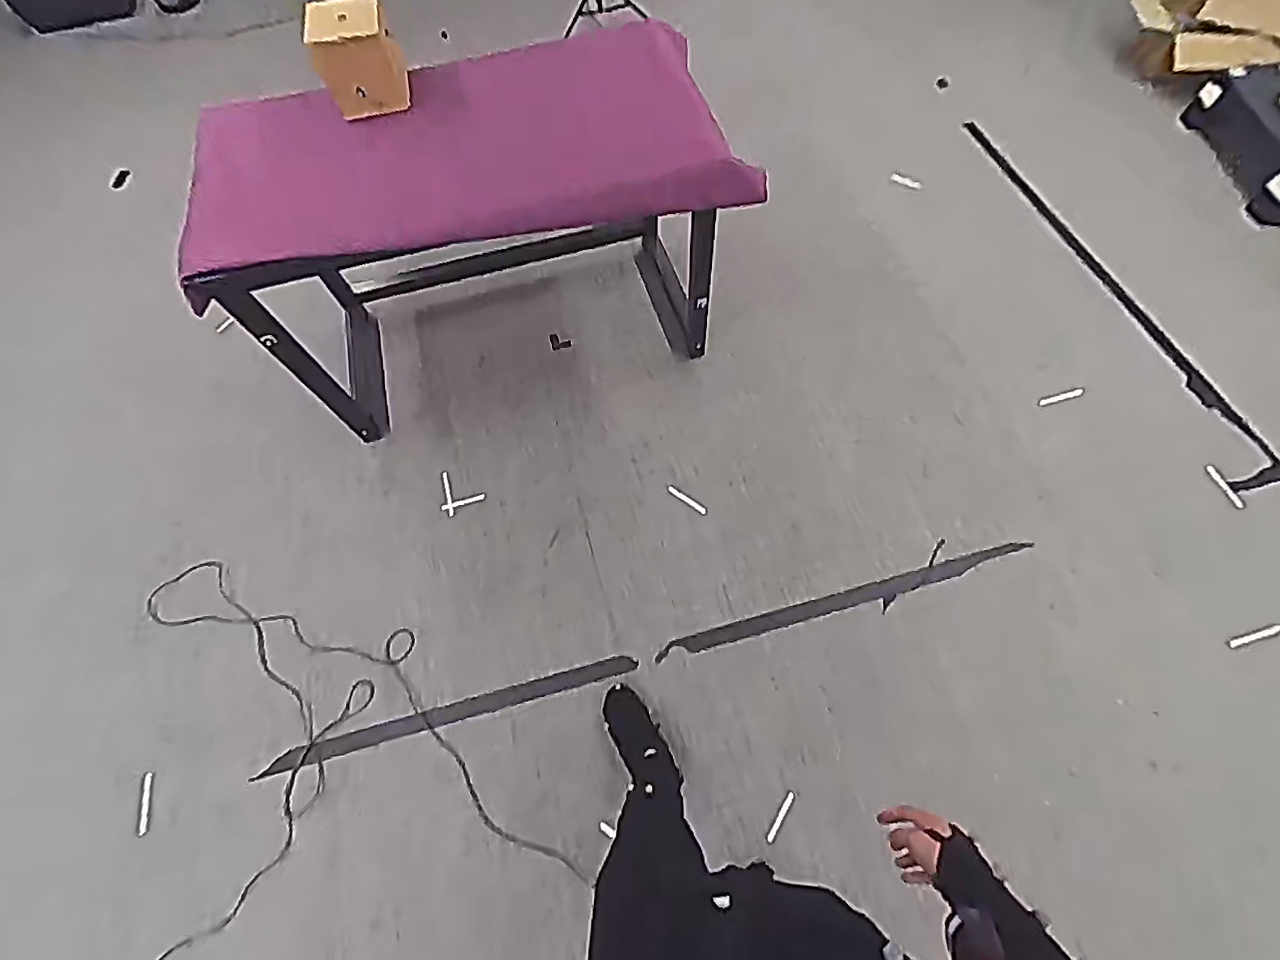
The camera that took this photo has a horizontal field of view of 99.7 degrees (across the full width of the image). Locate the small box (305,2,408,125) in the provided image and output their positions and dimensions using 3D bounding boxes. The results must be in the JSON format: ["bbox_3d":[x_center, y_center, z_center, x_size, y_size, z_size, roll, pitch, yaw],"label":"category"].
[{"bbox_3d":[-0.676,-0.999,1.304,0.168,0.176,0.179,-13,65,-4],"label":"small box"}]
